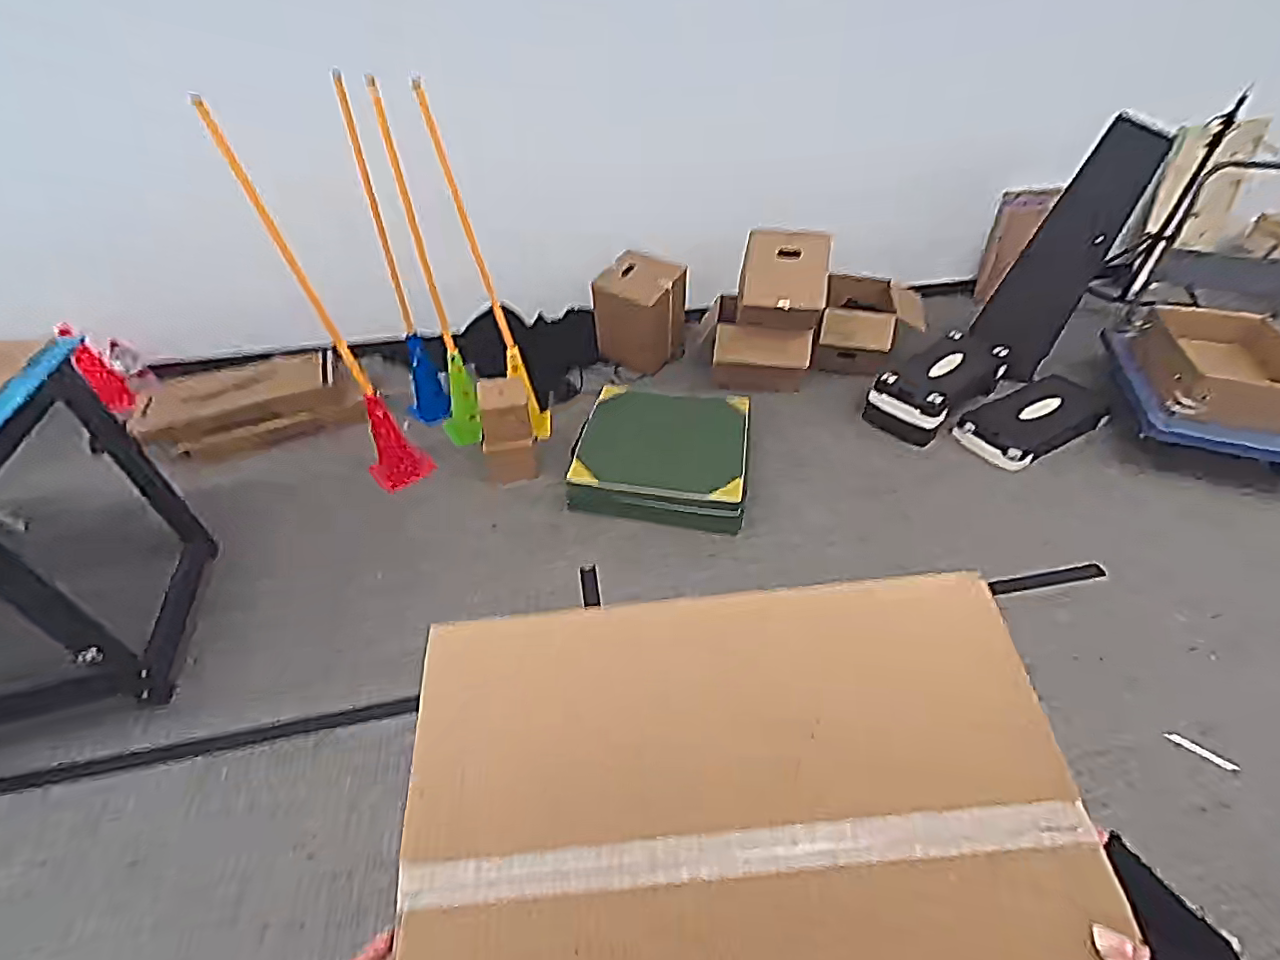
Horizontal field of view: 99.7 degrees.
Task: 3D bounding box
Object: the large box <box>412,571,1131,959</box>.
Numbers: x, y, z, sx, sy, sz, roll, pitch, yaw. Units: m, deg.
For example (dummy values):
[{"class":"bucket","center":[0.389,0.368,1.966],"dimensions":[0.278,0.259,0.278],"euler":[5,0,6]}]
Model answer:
[{"class":"large box","center":[0.071,0.297,0.457],"dimensions":[0.408,0.320,0.320],"euler":[-6,60,1]}]
